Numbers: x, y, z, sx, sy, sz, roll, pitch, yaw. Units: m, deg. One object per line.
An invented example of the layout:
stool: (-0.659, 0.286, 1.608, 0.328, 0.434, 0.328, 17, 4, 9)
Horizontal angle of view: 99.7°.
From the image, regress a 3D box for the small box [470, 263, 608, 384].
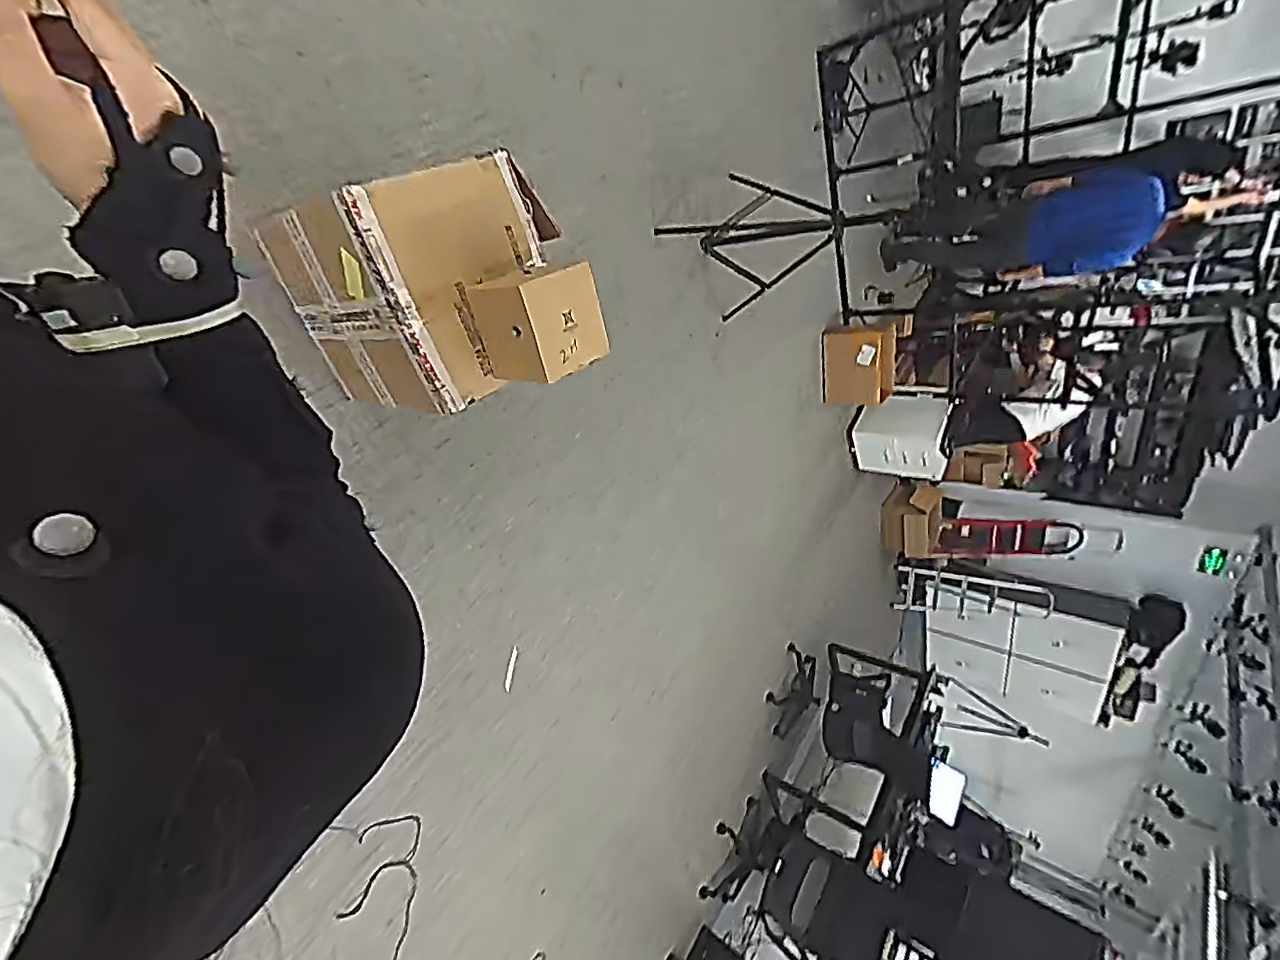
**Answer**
small box: (-0.191, -0.294, 1.017, 0.168, 0.176, 0.179, -37, 127, -36)

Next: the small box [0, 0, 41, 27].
small box: (-0.356, -0.306, 0.200, 0.168, 0.176, 0.179, -11, 125, -45)
